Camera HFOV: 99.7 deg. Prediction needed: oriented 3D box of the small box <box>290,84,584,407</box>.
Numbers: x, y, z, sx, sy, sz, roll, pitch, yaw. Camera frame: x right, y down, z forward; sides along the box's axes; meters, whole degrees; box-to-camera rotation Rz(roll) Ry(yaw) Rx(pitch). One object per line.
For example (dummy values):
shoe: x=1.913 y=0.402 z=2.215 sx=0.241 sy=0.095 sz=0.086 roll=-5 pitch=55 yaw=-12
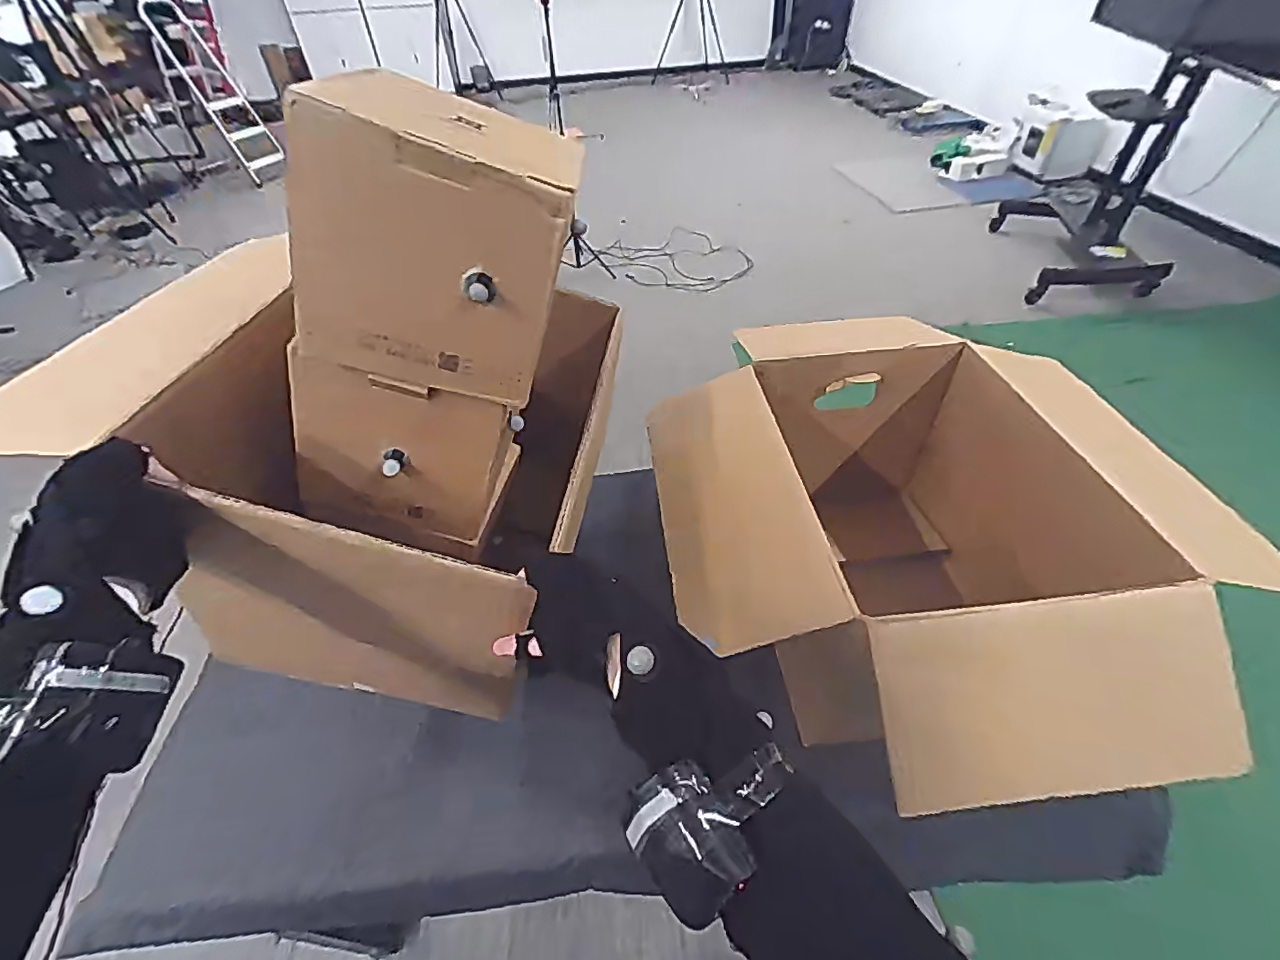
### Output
small box: x=-0.151 y=-0.184 z=0.436 sx=0.168 sy=0.176 sz=0.179 roll=15 pitch=37 yaw=-14
